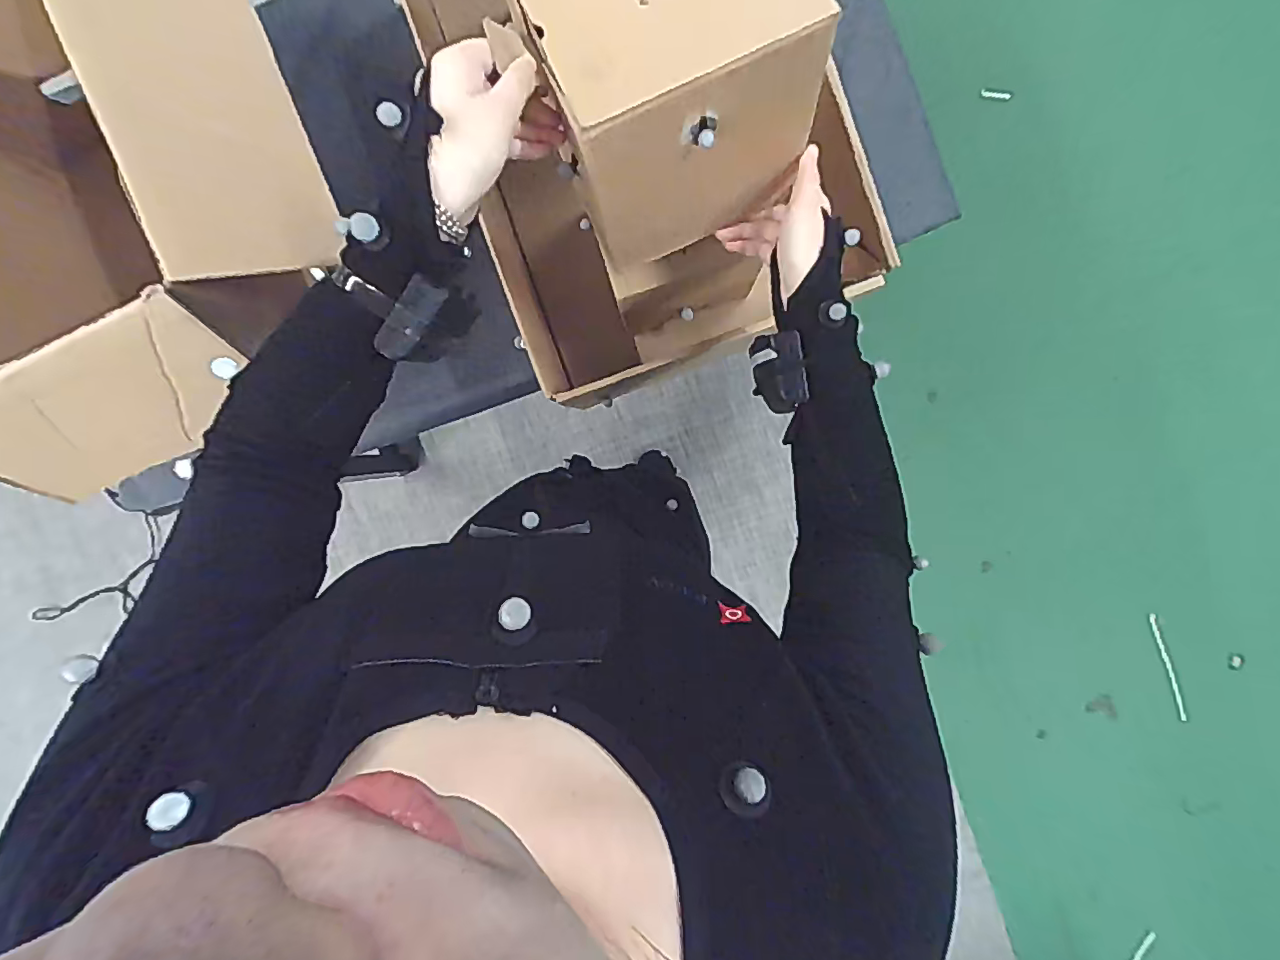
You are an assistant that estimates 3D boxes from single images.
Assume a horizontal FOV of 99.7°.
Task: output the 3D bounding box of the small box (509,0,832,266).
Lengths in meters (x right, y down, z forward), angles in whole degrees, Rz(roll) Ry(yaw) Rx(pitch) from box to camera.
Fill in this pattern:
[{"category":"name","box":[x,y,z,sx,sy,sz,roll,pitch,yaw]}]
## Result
[{"category":"small box","box":[0.020,-0.306,0.430,0.179,0.176,0.168,-24,80,1]}]
